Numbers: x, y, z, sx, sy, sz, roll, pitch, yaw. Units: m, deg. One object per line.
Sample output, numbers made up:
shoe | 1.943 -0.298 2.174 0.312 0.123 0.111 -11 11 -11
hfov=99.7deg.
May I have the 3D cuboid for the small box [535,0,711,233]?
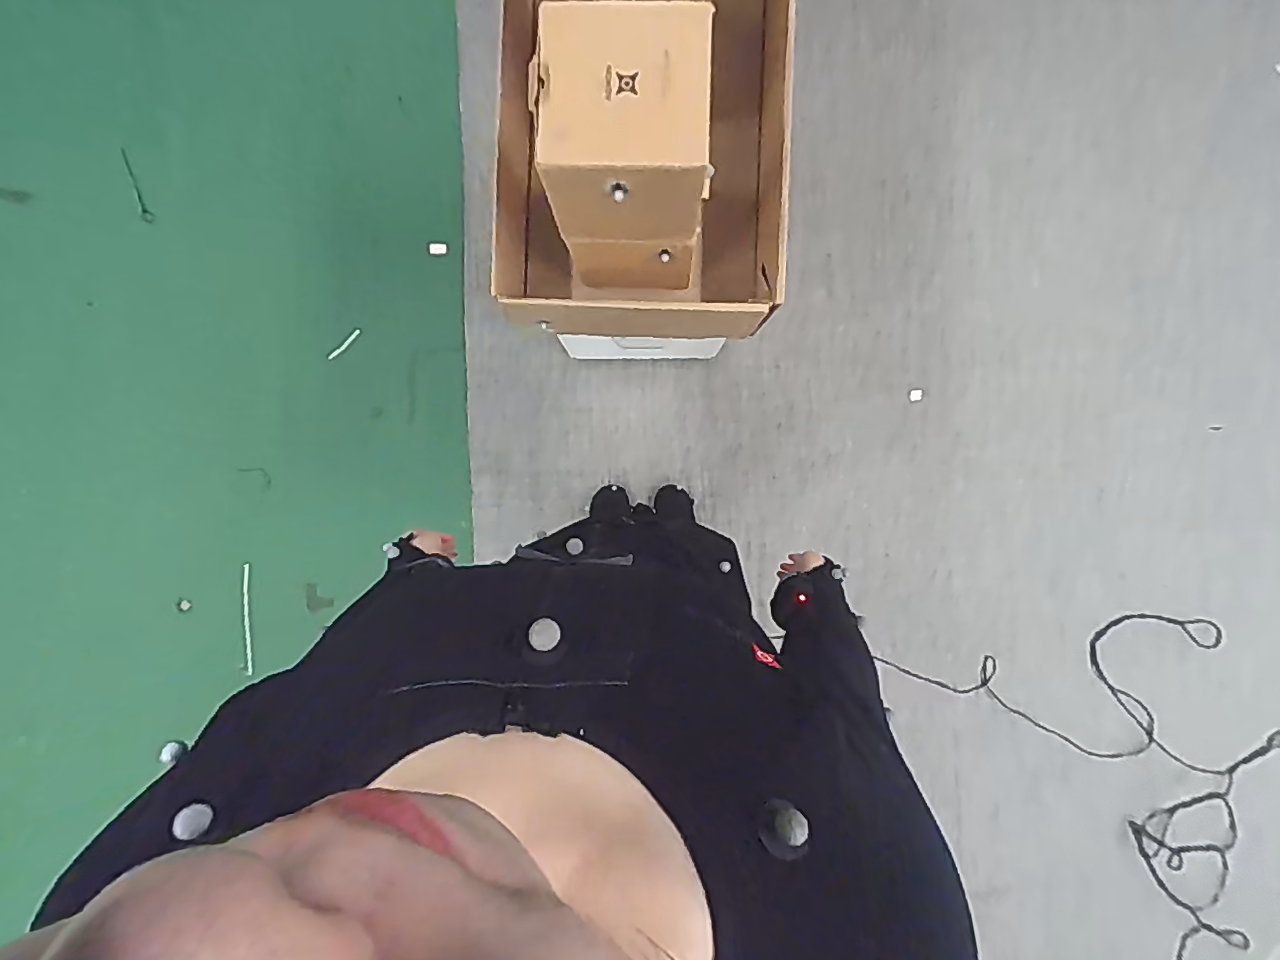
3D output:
small box | -0.016 -0.402 0.623 0.179 0.176 0.168 1 92 0
